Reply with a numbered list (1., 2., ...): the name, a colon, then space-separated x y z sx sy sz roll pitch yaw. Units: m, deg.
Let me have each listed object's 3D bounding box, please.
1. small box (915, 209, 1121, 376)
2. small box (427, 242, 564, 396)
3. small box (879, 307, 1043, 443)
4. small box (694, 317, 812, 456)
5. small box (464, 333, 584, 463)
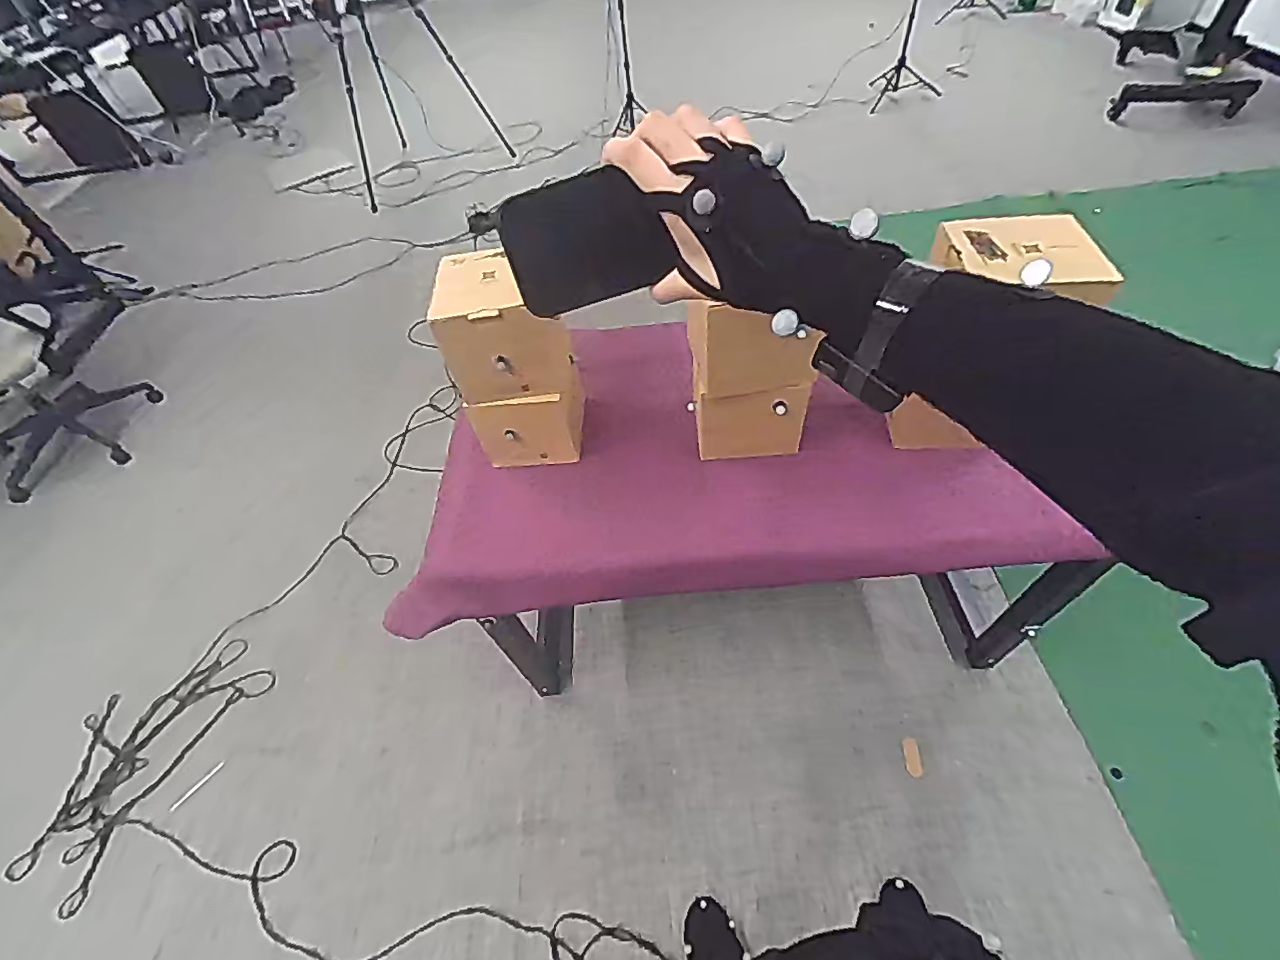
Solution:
1. small box: 0.516 -0.263 0.777 0.179 0.176 0.168 0 52 8
2. small box: -0.220 -0.250 0.872 0.168 0.176 0.179 -8 52 1
3. small box: 0.525 -0.175 0.915 0.179 0.176 0.168 0 52 9
4. small box: 0.188 -0.159 0.950 0.179 0.176 0.168 -5 52 5
5. small box: -0.201 -0.143 0.995 0.168 0.176 0.179 -4 52 5
